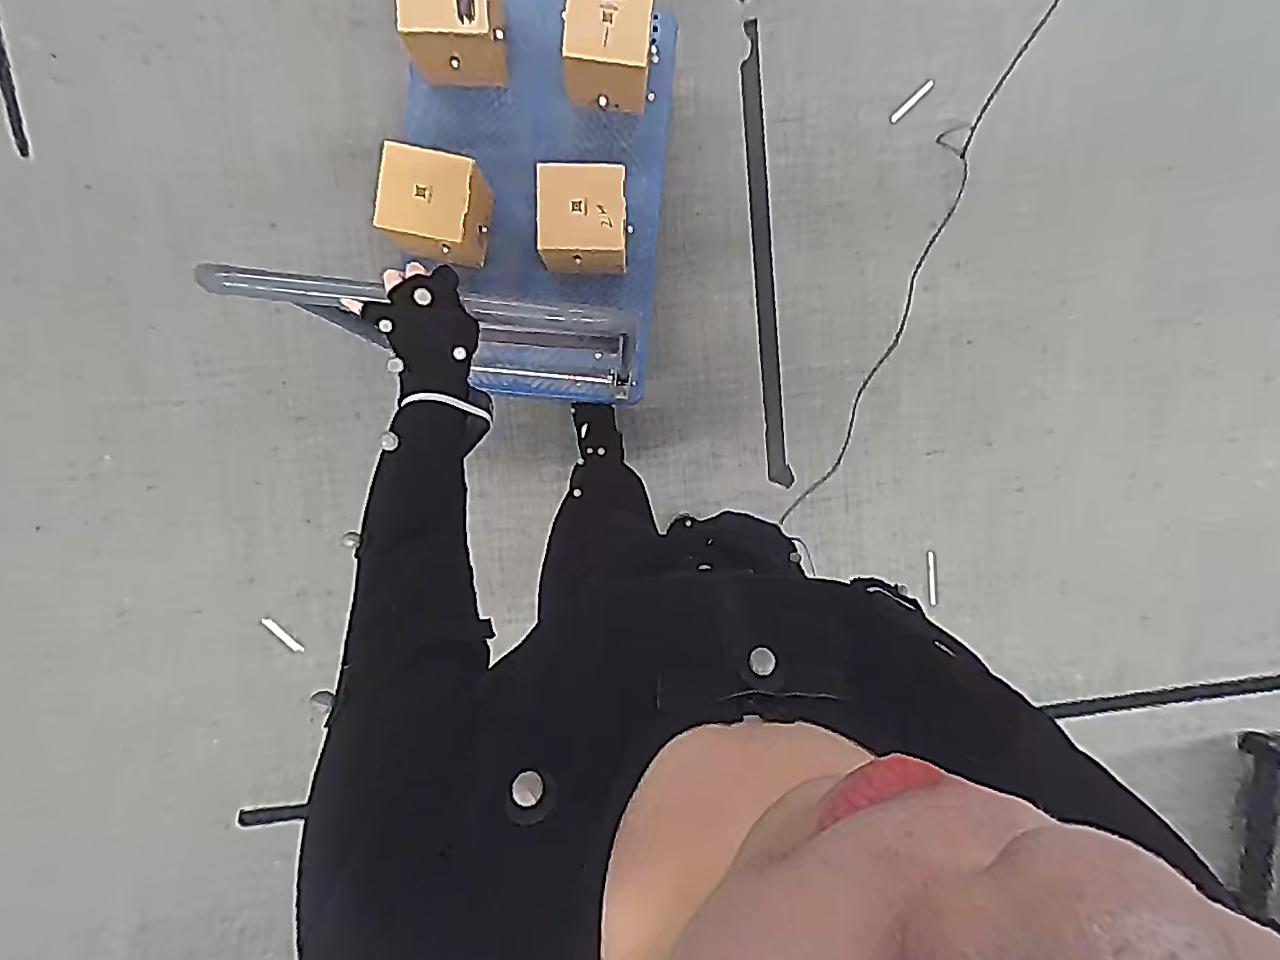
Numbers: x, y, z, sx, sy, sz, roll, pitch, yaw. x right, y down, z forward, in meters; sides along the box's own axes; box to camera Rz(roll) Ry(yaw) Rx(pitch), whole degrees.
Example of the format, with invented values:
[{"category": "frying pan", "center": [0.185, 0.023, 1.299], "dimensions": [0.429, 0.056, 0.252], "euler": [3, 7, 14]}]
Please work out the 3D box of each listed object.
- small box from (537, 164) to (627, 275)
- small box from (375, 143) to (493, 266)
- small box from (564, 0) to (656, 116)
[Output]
[{"category": "small box", "center": [-0.117, -0.543, 1.147], "dimensions": [0.179, 0.176, 0.168], "euler": [1, 95, -1]}, {"category": "small box", "center": [-0.424, -0.567, 1.137], "dimensions": [0.179, 0.176, 0.168], "euler": [10, 95, -4]}, {"category": "small box", "center": [-0.060, -0.898, 1.115], "dimensions": [0.168, 0.176, 0.179], "euler": [6, 96, -2]}]
